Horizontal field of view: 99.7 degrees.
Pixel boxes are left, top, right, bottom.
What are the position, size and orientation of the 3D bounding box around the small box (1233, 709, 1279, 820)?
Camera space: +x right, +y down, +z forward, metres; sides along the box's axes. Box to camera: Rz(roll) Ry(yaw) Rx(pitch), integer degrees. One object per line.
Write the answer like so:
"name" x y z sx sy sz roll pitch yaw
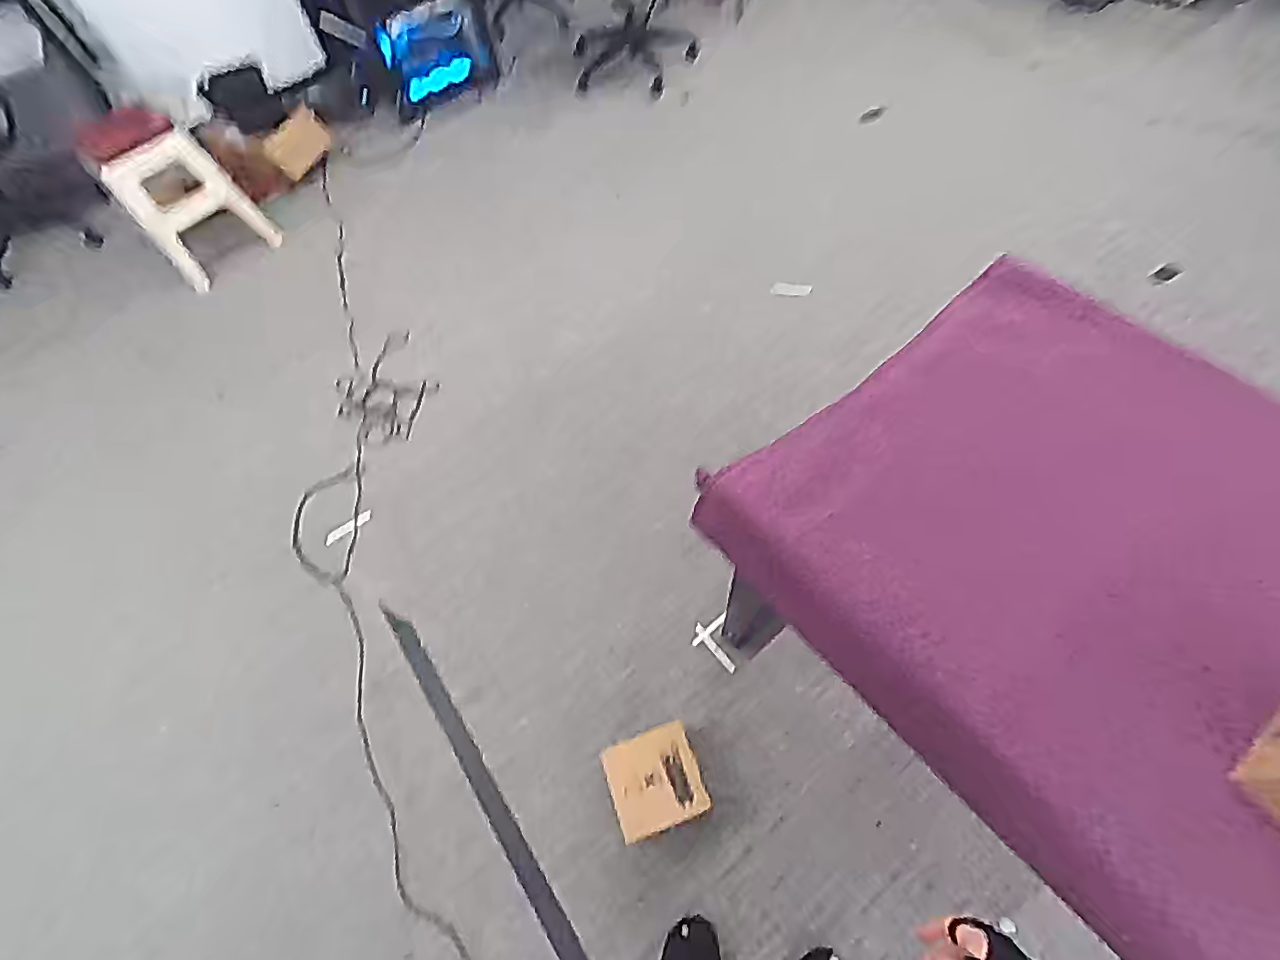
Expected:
"small box" 0.664 0.256 0.424 0.168 0.176 0.179 -34 62 -15
